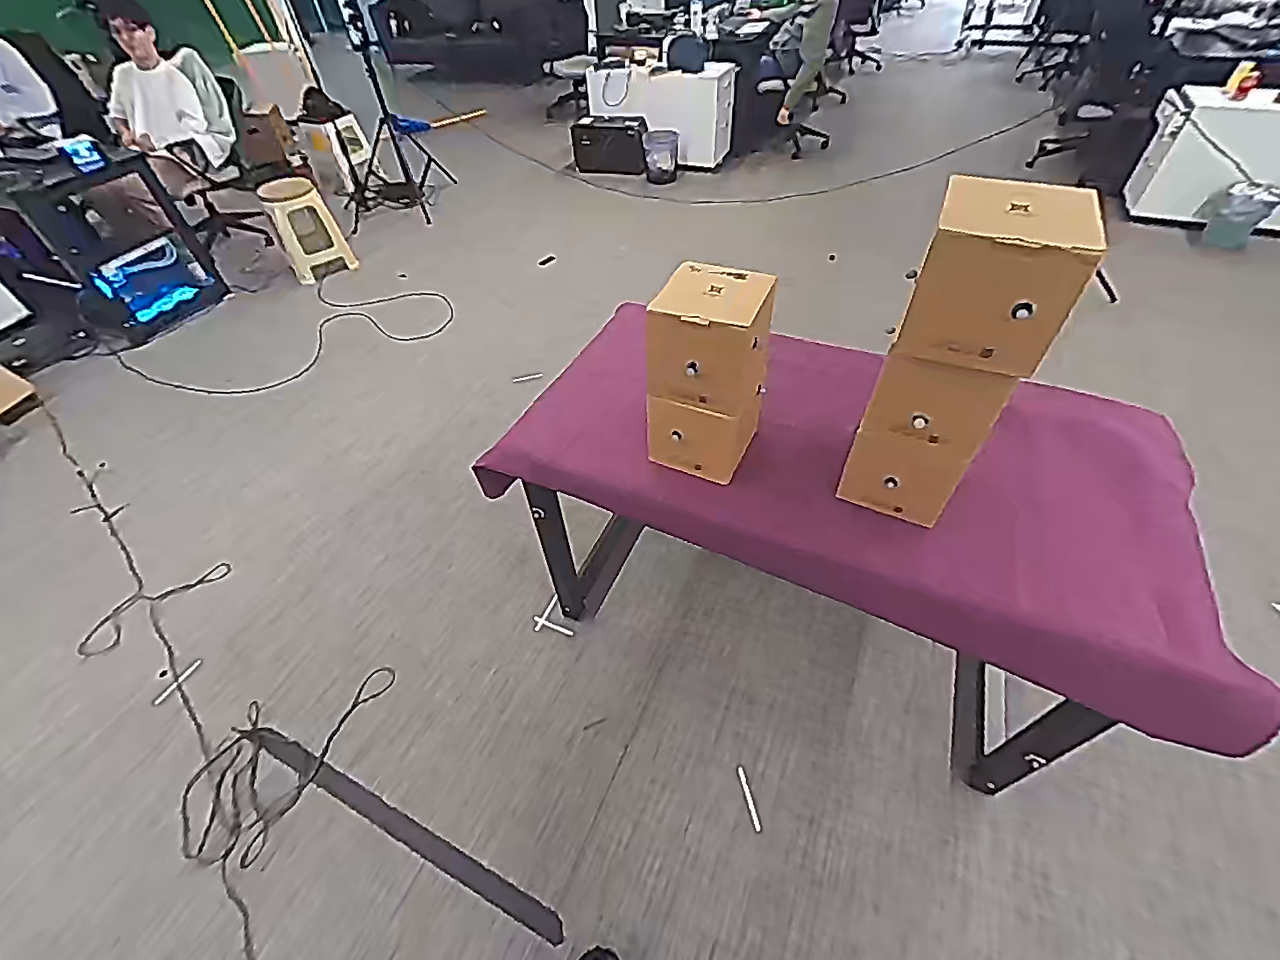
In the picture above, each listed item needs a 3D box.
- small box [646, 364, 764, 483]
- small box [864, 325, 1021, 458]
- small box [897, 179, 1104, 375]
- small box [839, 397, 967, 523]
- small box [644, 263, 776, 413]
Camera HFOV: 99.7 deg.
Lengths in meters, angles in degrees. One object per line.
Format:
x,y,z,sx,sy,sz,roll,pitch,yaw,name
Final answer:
0.123,-0.122,1.029,0.168,0.176,0.179,19,50,19,small box
0.460,-0.165,0.826,0.168,0.176,0.179,20,52,20,small box
0.446,-0.259,0.693,0.168,0.176,0.179,18,50,17,small box
0.462,-0.053,0.946,0.168,0.176,0.179,20,52,20,small box
0.118,-0.238,0.913,0.168,0.176,0.179,17,50,17,small box
